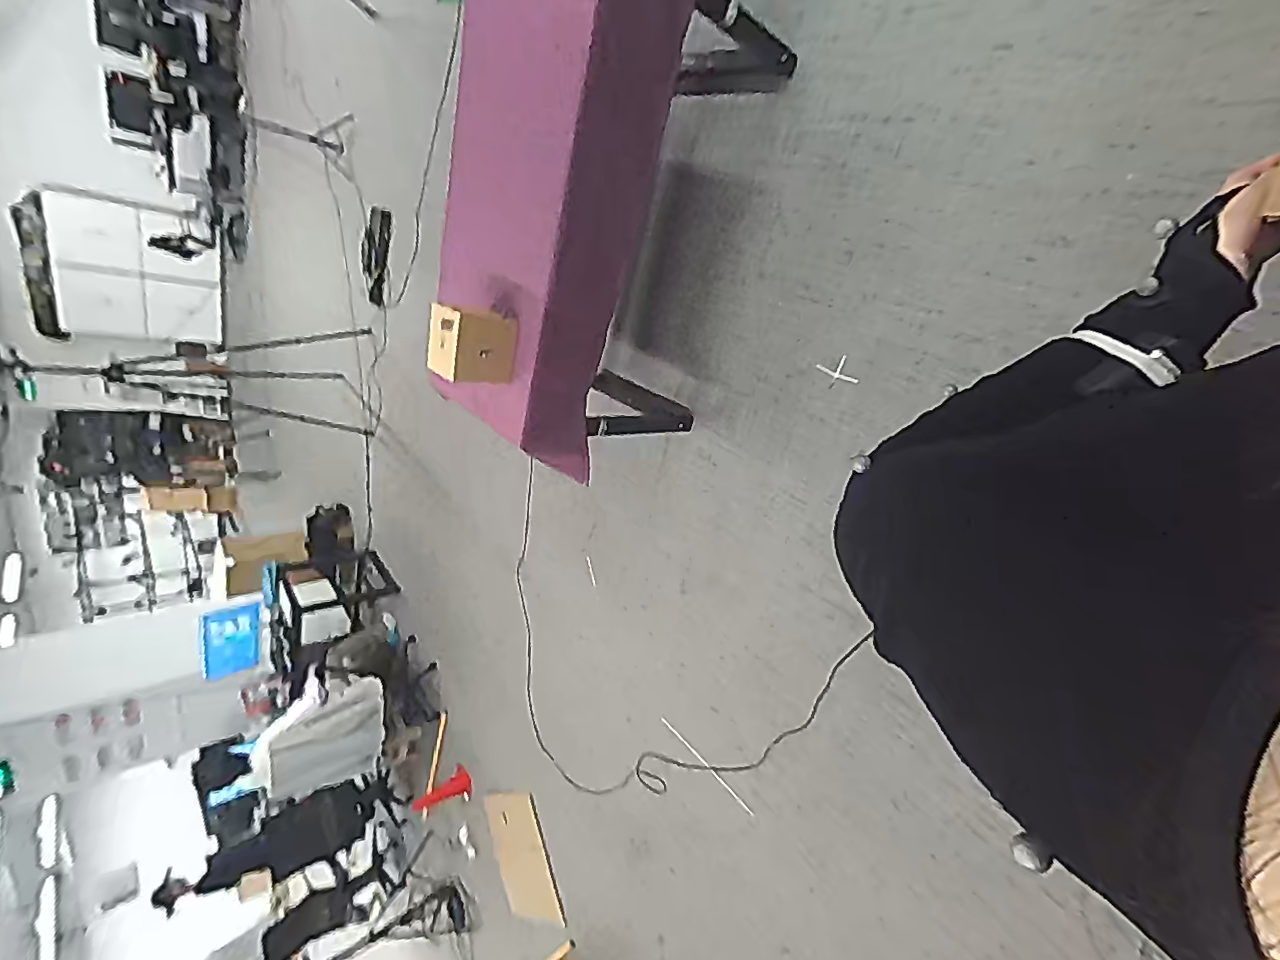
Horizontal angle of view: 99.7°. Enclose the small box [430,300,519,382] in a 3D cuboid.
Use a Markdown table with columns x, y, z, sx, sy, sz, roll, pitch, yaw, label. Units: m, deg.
| x | y | z | sx | sy | sz | roll | pitch | yaw | label |
| --- | --- | --- | --- | --- | --- | --- | --- | --- | --- |
| -0.444 | -0.369 | 1.453 | 0.168 | 0.176 | 0.179 | 31 | 117 | 40 | small box |
